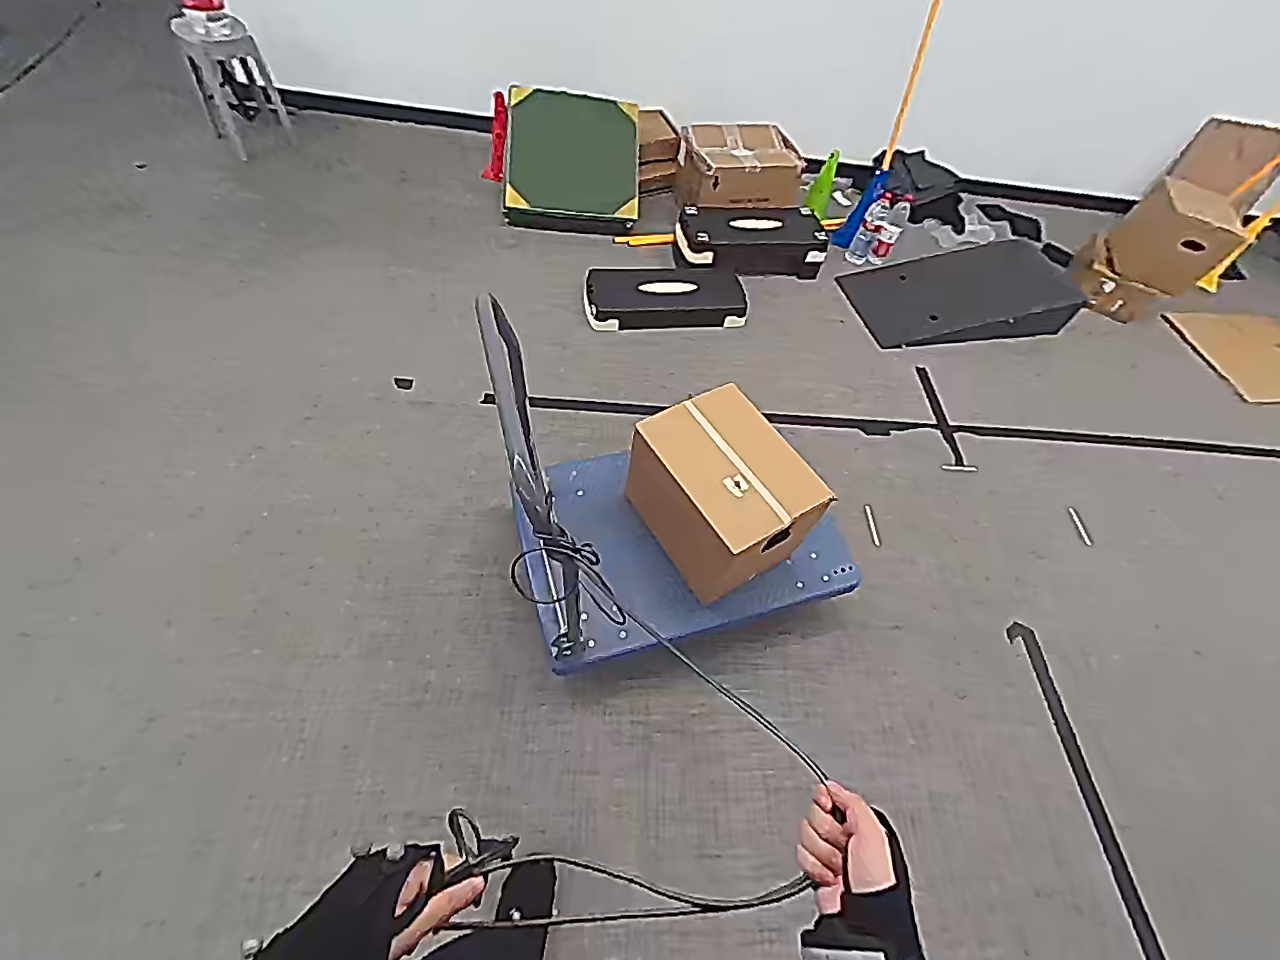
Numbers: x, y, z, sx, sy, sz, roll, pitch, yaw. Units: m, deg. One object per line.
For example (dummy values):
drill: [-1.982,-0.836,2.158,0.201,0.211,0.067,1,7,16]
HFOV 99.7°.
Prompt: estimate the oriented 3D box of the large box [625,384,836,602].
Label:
large box: [0.205,0.033,1.396,0.320,0.320,0.408,-26,65,-22]
